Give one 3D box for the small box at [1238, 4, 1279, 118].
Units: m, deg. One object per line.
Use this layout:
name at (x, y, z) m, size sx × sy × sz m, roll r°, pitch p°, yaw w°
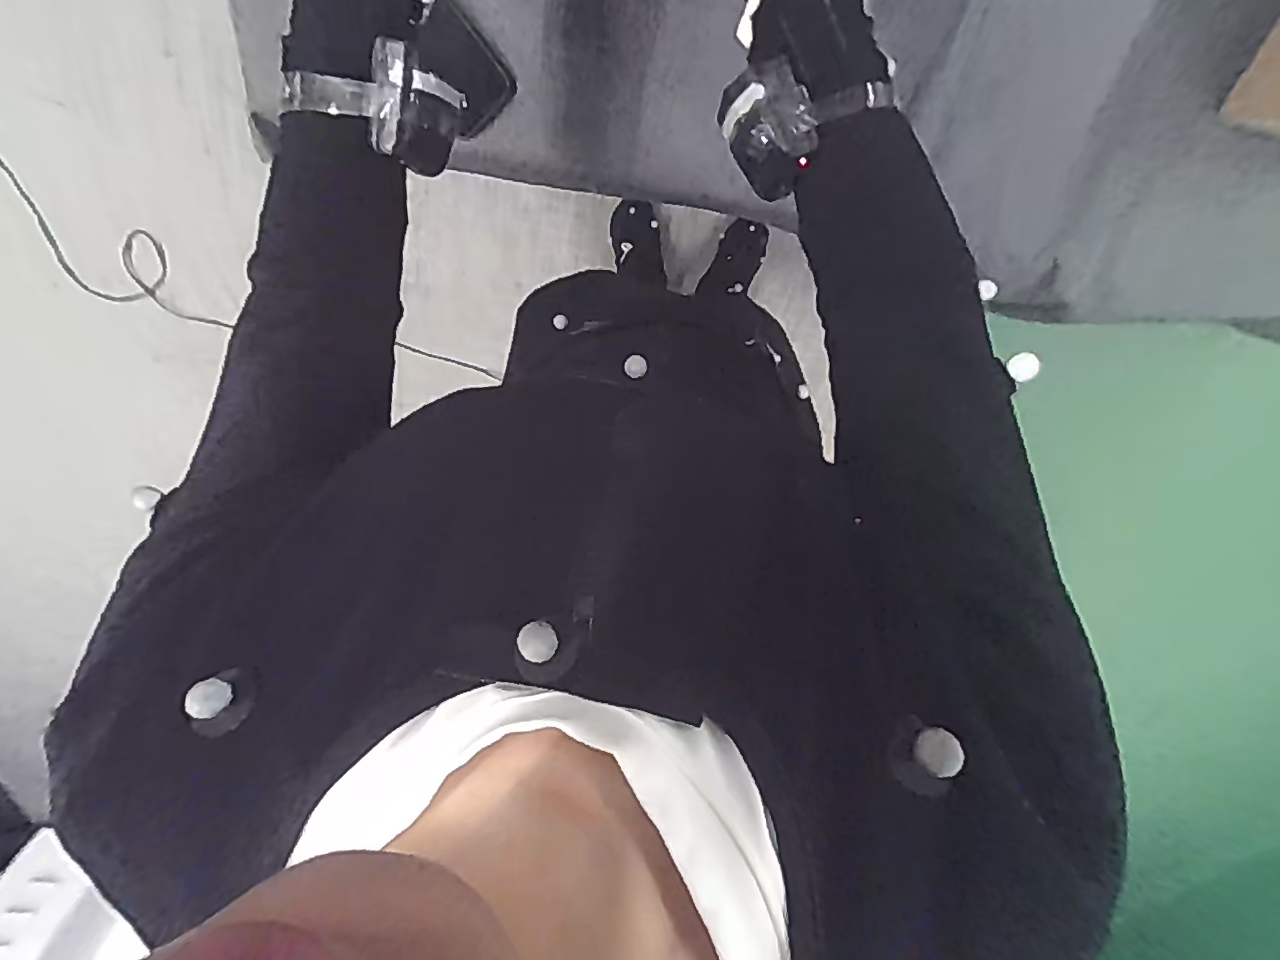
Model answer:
small box at (0.636, -0.365, 0.406) m, size 0.168 × 0.176 × 0.179 m, roll 9°, pitch 124°, yaw -5°
